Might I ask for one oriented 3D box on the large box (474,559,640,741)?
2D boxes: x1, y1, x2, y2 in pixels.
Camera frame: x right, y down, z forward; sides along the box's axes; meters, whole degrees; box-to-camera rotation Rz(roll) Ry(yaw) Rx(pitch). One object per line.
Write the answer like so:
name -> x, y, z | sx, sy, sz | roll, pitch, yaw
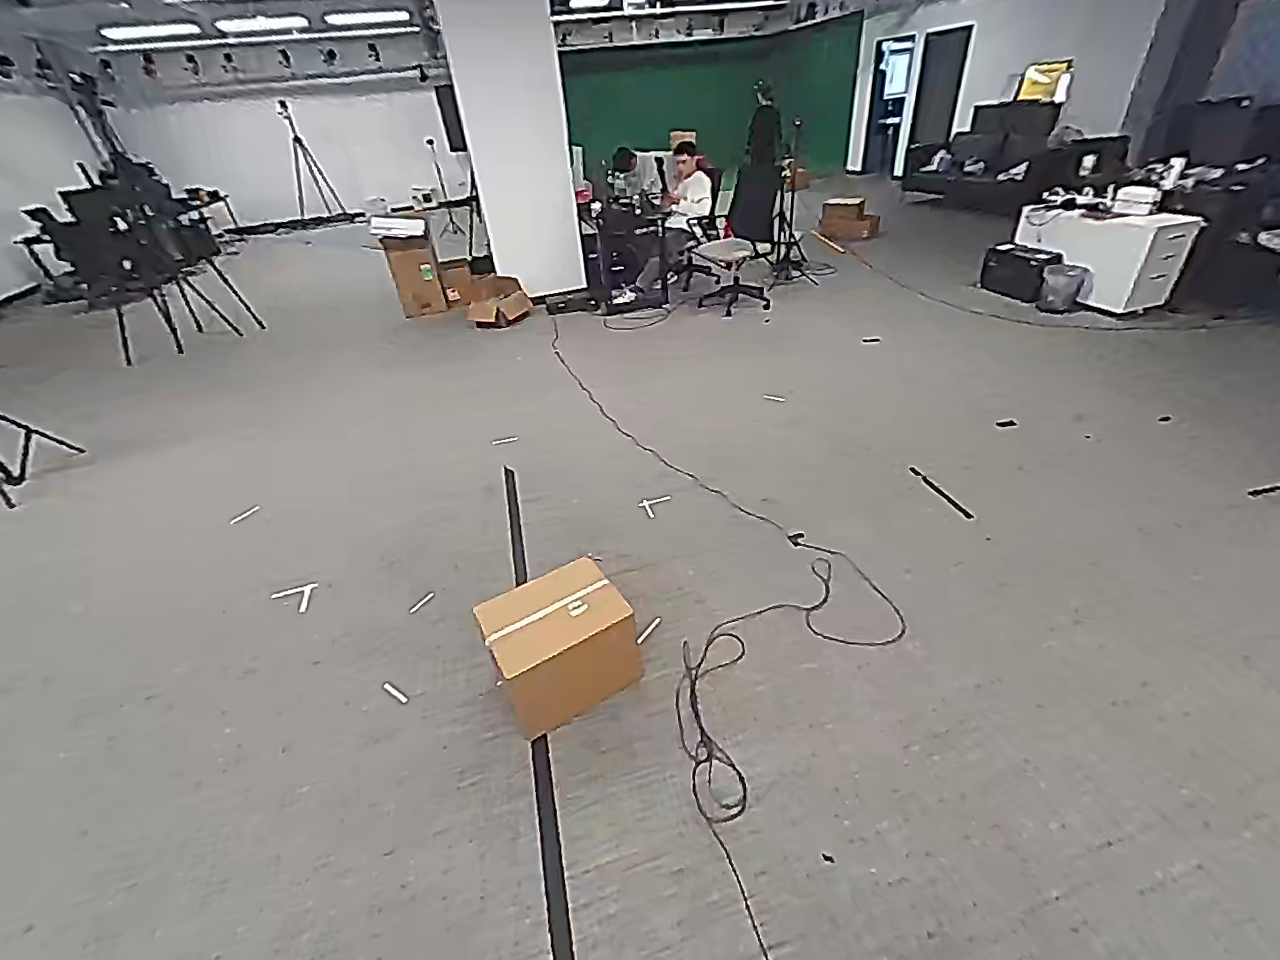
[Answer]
large box -> -0.255, 0.526, 1.715 | 0.408, 0.320, 0.320 | -22, 38, -24
